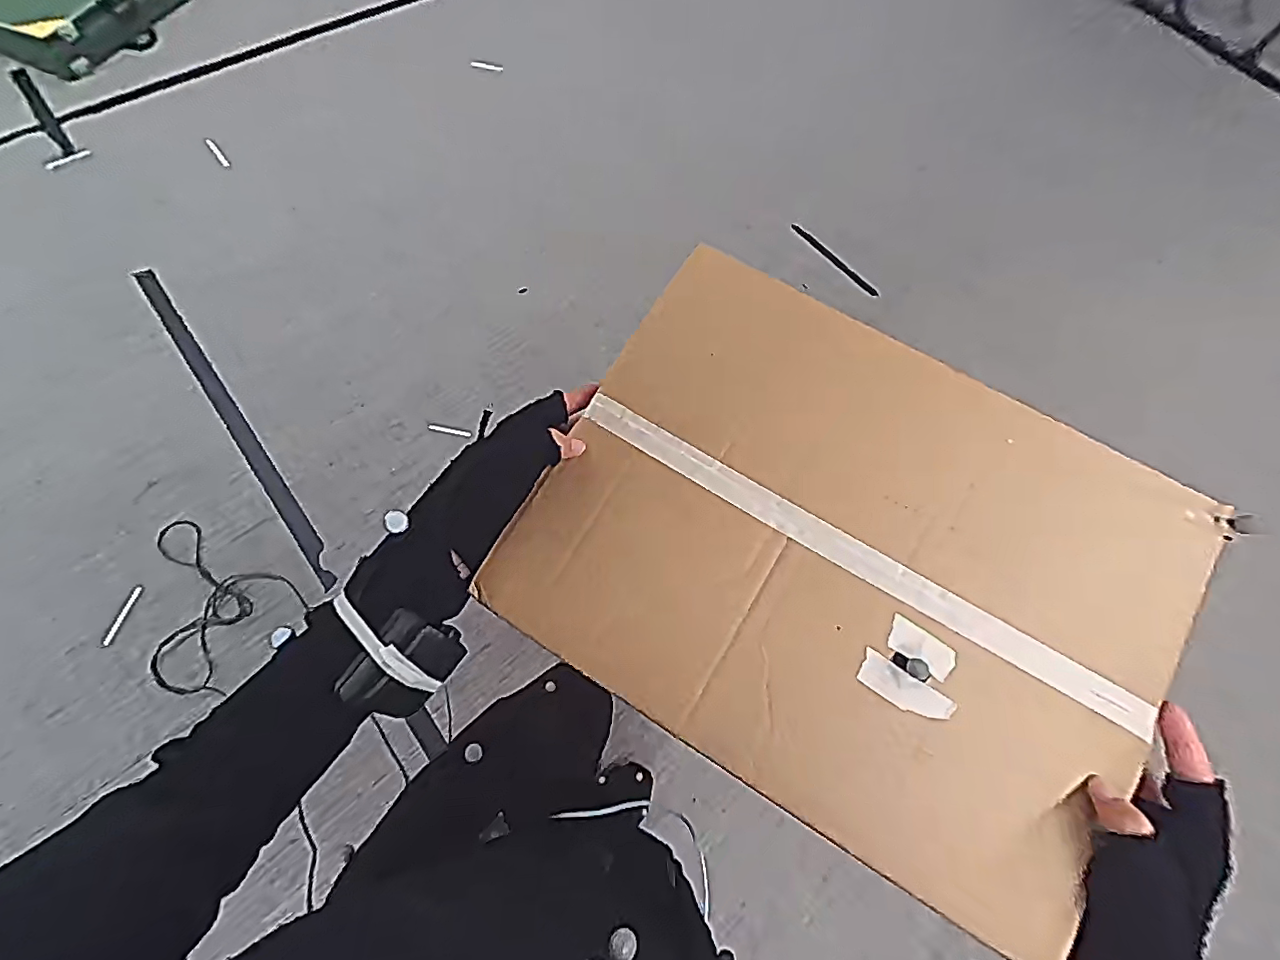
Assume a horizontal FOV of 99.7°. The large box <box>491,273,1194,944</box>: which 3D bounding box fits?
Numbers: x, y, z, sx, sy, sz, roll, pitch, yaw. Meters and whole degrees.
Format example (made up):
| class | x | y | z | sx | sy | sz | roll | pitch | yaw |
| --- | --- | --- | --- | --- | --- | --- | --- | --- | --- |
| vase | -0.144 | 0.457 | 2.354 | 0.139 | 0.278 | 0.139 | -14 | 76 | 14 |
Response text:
| class | x | y | z | sx | sy | sz | roll | pitch | yaw |
| --- | --- | --- | --- | --- | --- | --- | --- | --- | --- |
| large box | 0.143 | 0.089 | 0.520 | 0.408 | 0.320 | 0.320 | 31 | 80 | 9 |
